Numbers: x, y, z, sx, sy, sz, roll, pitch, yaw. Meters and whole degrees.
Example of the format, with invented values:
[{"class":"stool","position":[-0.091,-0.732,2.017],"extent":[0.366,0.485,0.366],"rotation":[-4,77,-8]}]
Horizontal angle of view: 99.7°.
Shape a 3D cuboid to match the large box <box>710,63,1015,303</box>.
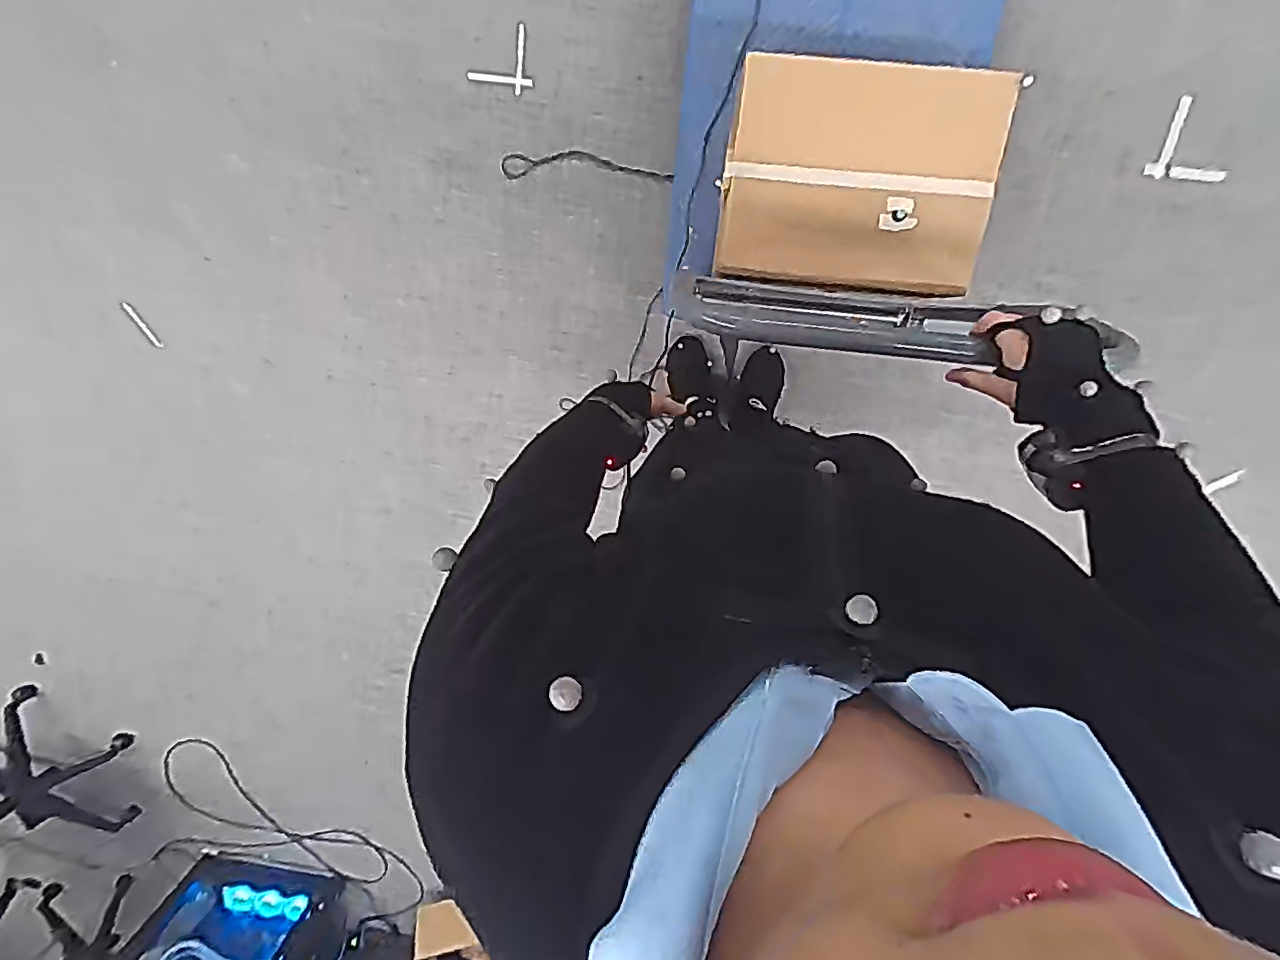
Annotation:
[{"class":"large box","position":[0.350,-0.502,0.985],"extent":[0.408,0.320,0.320],"rotation":[6,109,2]}]
